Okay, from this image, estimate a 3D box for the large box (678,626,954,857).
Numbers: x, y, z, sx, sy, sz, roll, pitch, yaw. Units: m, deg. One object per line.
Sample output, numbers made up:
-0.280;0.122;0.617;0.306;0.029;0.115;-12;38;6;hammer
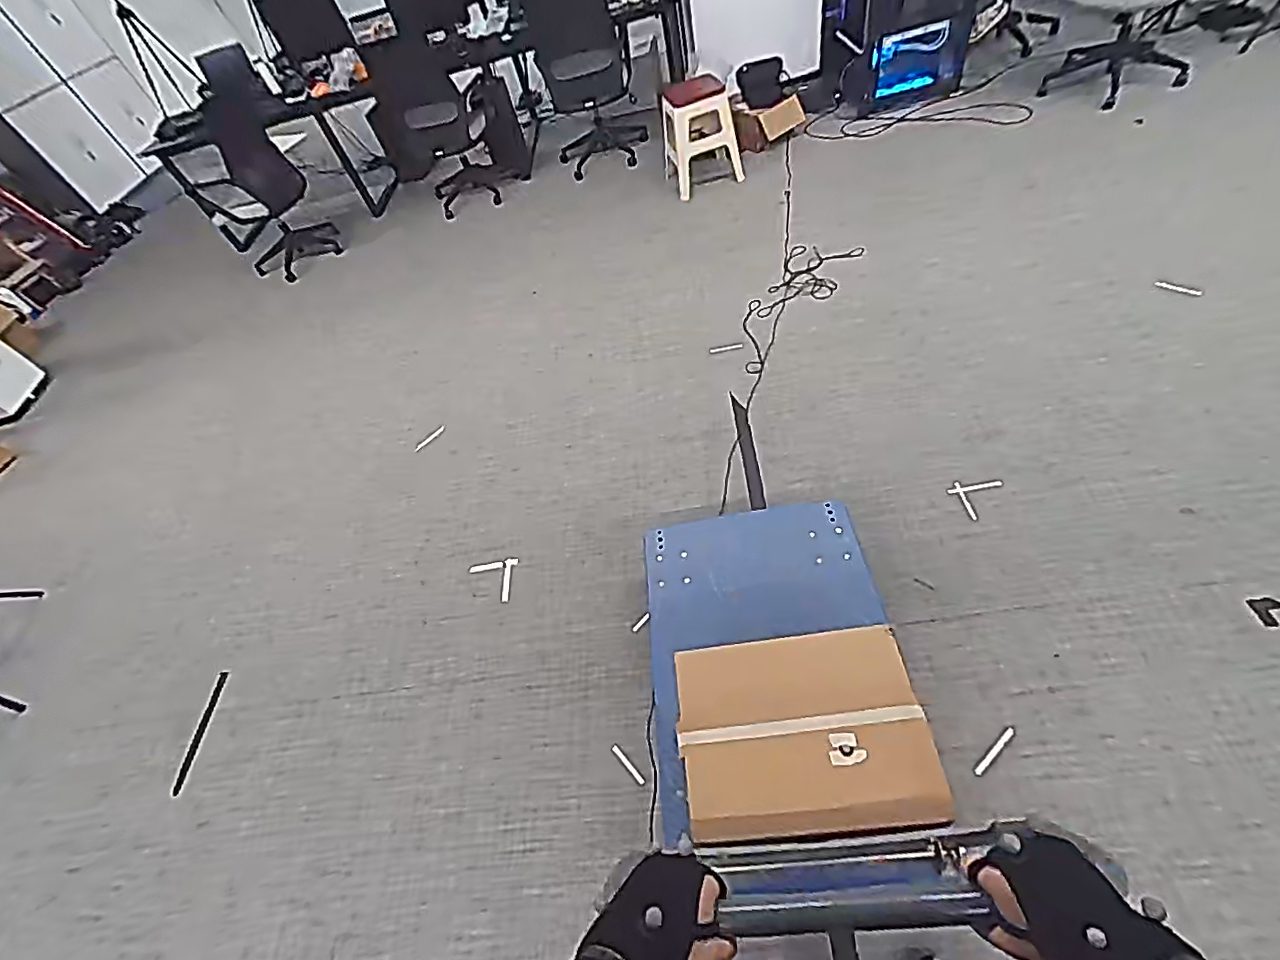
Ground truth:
0.306;0.518;1.053;0.408;0.320;0.320;-10;52;7;large box
